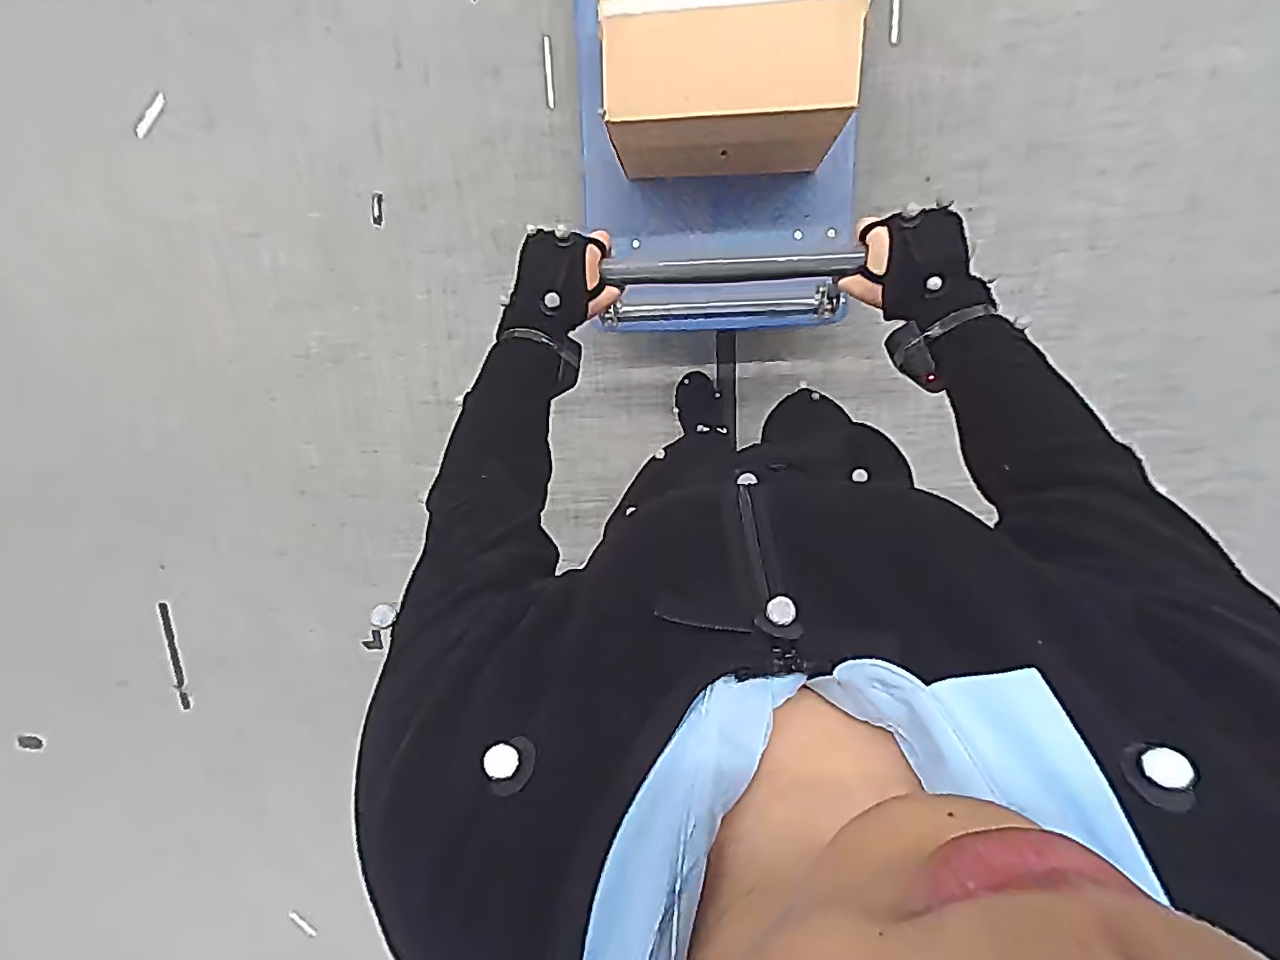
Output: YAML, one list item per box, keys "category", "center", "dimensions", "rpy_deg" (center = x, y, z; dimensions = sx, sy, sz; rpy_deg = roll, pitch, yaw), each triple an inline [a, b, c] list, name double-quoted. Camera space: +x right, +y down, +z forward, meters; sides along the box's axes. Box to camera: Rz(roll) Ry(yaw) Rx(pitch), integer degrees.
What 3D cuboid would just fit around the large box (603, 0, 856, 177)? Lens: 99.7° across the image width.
- category: "large box"
  center: [0.156, -0.780, 0.996]
  dimensions: [0.408, 0.320, 0.320]
  rpy_deg: [1, 102, 7]
